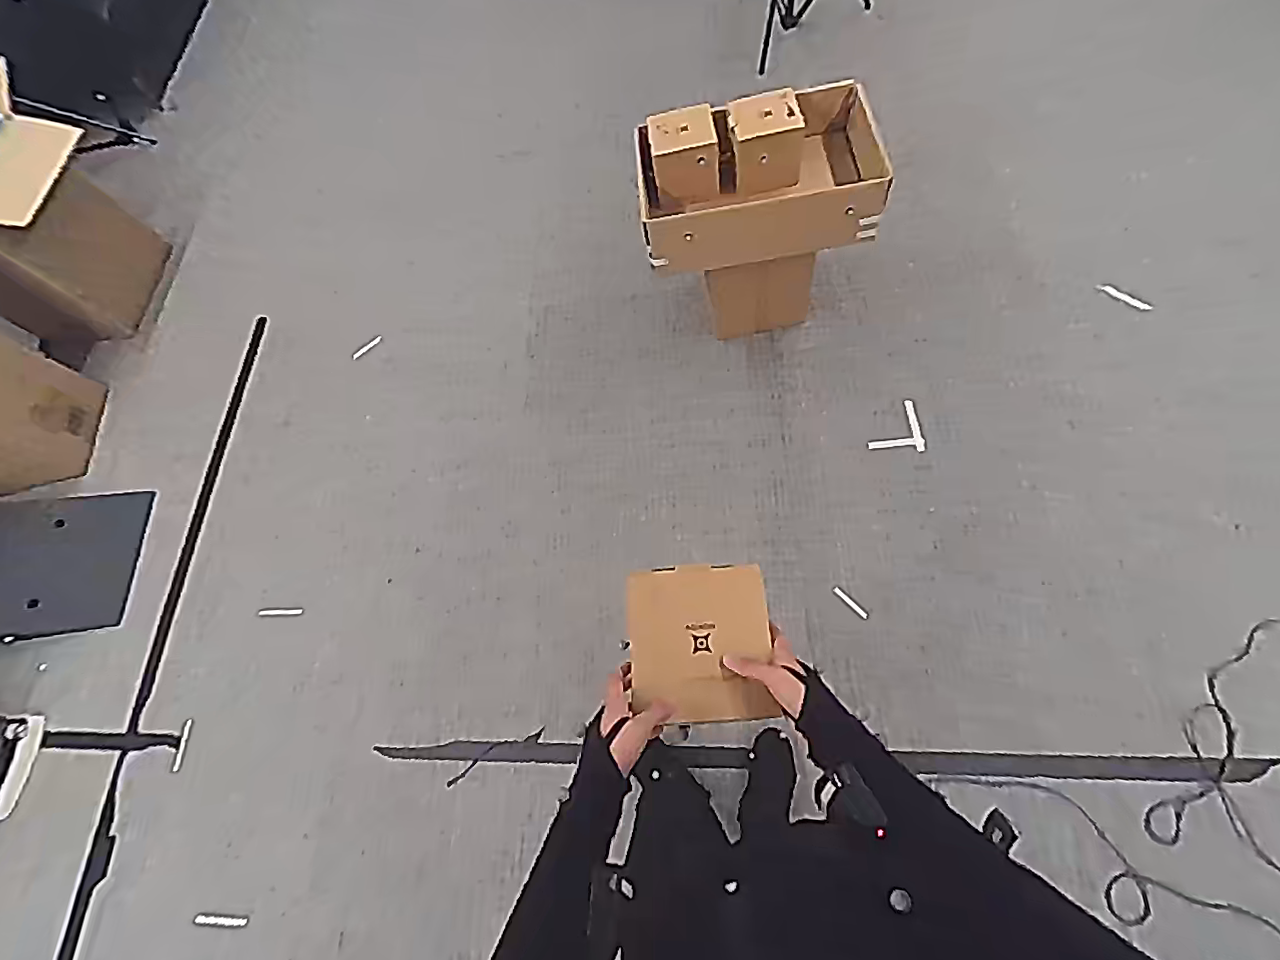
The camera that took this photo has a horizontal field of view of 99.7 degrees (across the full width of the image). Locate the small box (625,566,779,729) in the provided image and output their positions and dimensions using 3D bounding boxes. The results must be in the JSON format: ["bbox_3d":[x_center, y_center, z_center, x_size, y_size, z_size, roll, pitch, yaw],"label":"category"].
[{"bbox_3d":[0.065,0.219,0.695,0.168,0.176,0.179,-2,65,-2],"label":"small box"}]
